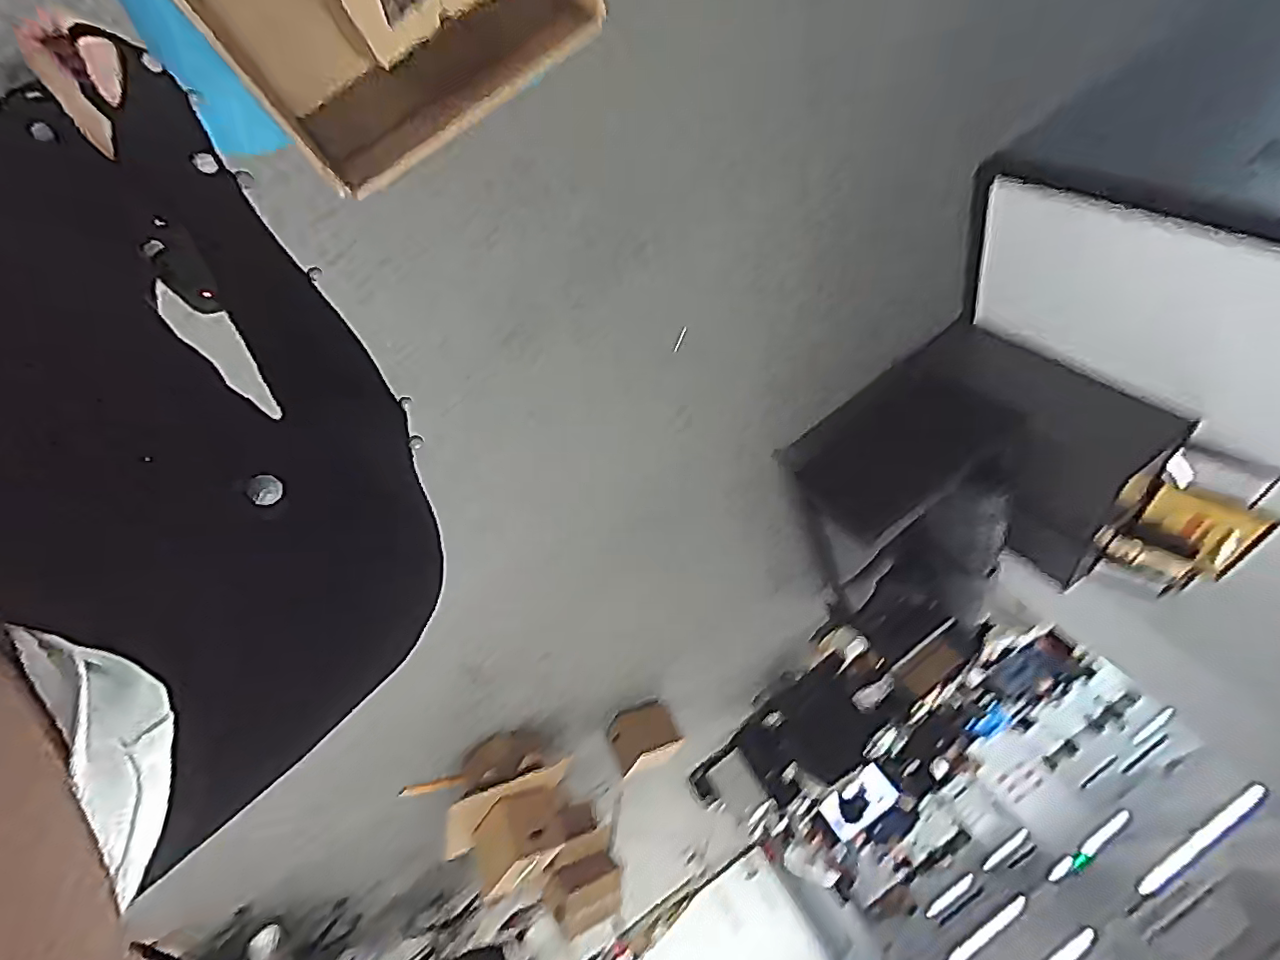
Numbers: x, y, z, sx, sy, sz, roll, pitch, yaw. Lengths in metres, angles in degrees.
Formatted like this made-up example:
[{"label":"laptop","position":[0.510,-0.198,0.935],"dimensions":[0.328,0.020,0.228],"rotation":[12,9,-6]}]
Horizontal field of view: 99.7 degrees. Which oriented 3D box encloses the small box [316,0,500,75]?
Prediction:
[{"label":"small box","position":[-0.271,-0.563,0.555],"dimensions":[0.168,0.176,0.179],"rotation":[-39,139,-4]}]
